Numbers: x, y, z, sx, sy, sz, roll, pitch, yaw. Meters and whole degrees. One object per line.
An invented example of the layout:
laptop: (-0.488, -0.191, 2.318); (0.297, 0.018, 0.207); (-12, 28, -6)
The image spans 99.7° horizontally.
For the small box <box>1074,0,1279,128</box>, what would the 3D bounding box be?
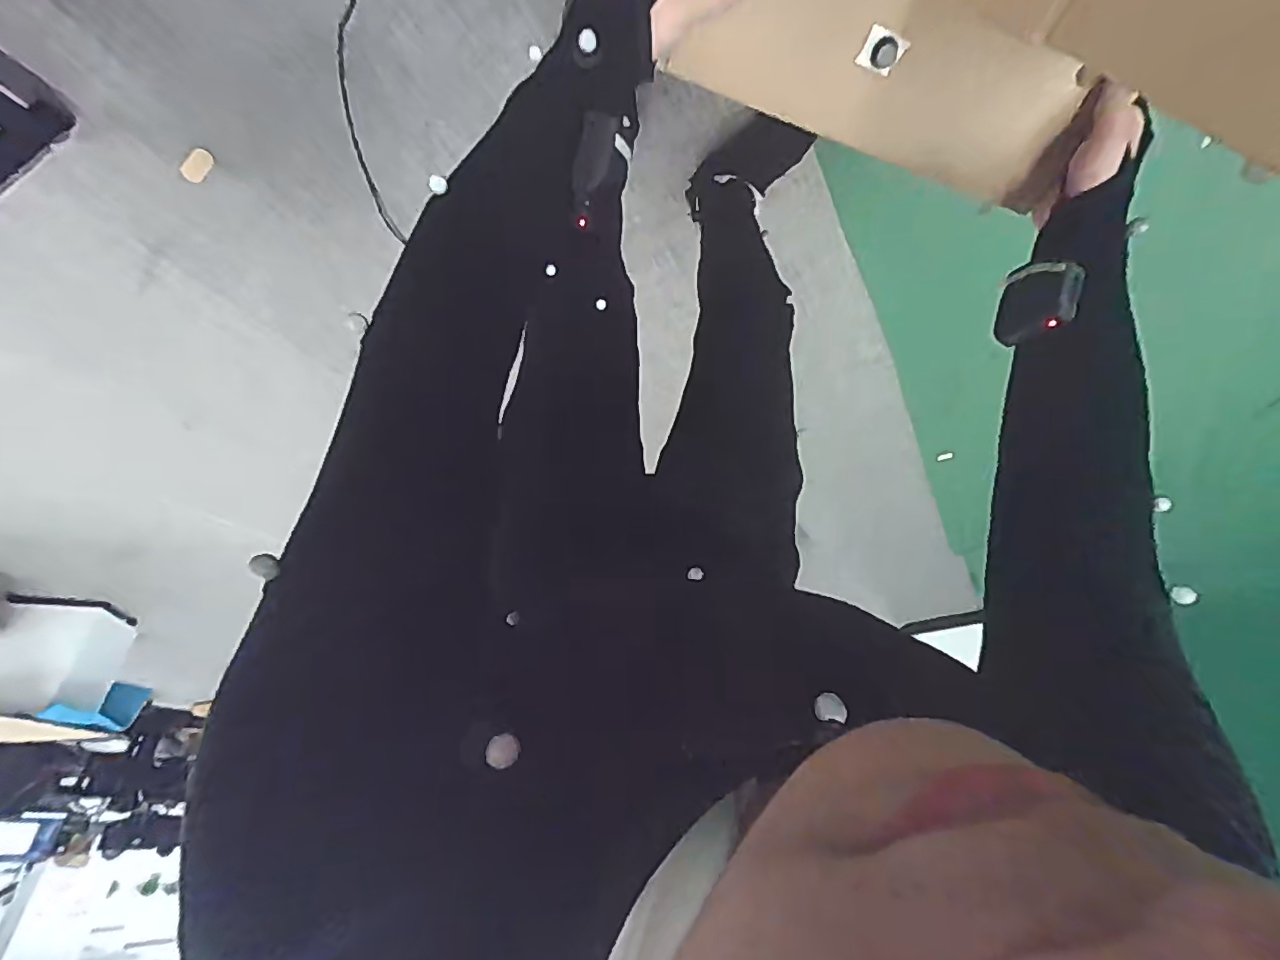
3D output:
small box: (0.320, -0.216, 0.191); (0.179, 0.176, 0.168); (8, 140, -11)
